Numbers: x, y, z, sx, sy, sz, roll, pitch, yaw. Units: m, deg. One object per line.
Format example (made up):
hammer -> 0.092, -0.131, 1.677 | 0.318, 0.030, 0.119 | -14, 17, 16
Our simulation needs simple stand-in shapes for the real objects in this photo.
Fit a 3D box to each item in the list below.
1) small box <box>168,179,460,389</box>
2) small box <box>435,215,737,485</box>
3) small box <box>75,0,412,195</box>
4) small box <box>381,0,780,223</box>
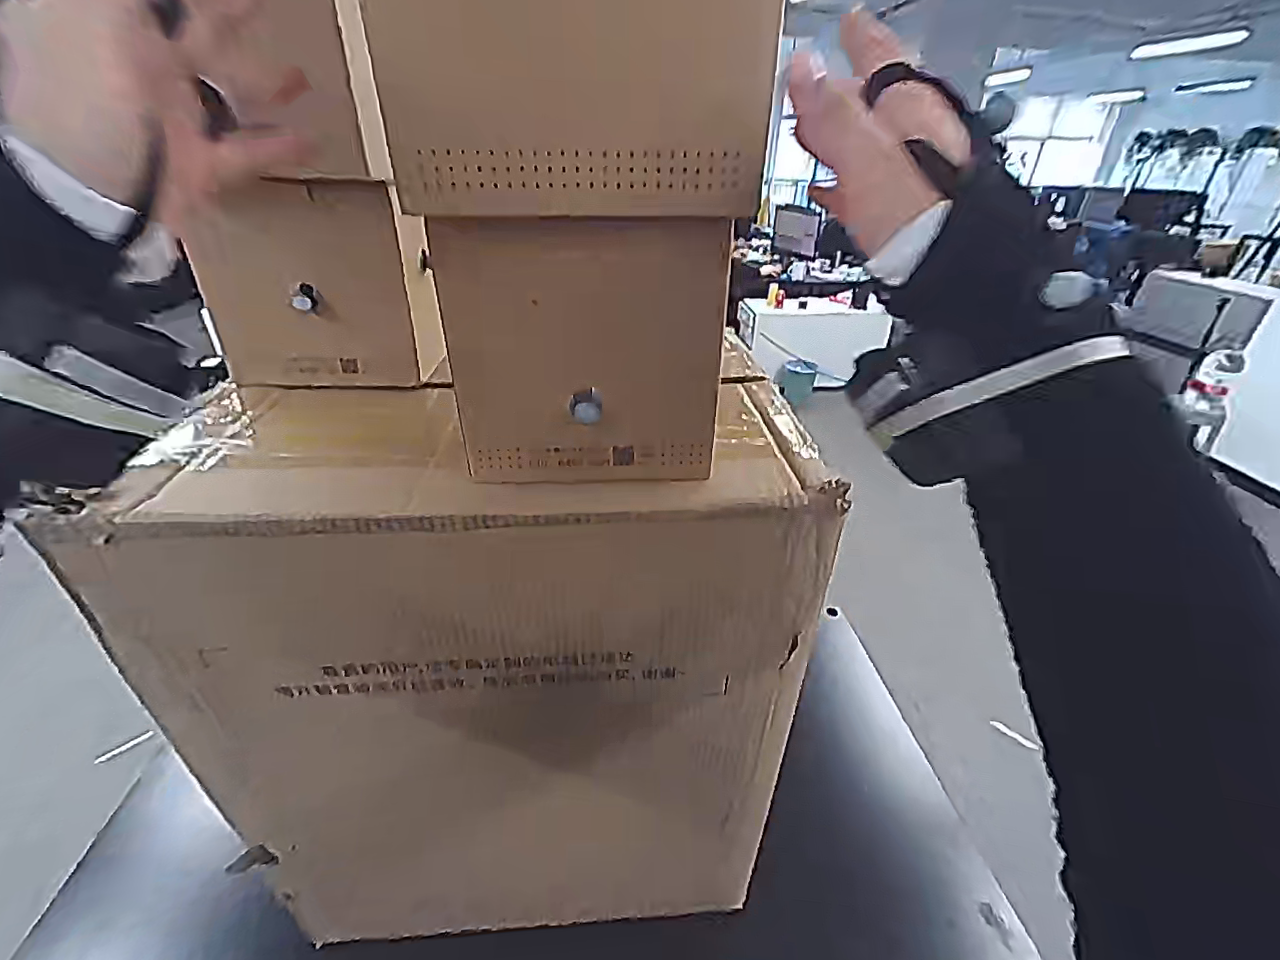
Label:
small box -> -0.278, -0.193, 0.517 | 0.168, 0.176, 0.179 | 0, 31, -6
small box -> -0.033, -0.111, 0.399 | 0.168, 0.176, 0.179 | -1, 31, -2
small box -> -0.273, -0.316, 0.404 | 0.168, 0.176, 0.179 | -3, 32, -7
small box -> -0.030, -0.235, 0.287 | 0.179, 0.176, 0.168 | -3, 32, -7
